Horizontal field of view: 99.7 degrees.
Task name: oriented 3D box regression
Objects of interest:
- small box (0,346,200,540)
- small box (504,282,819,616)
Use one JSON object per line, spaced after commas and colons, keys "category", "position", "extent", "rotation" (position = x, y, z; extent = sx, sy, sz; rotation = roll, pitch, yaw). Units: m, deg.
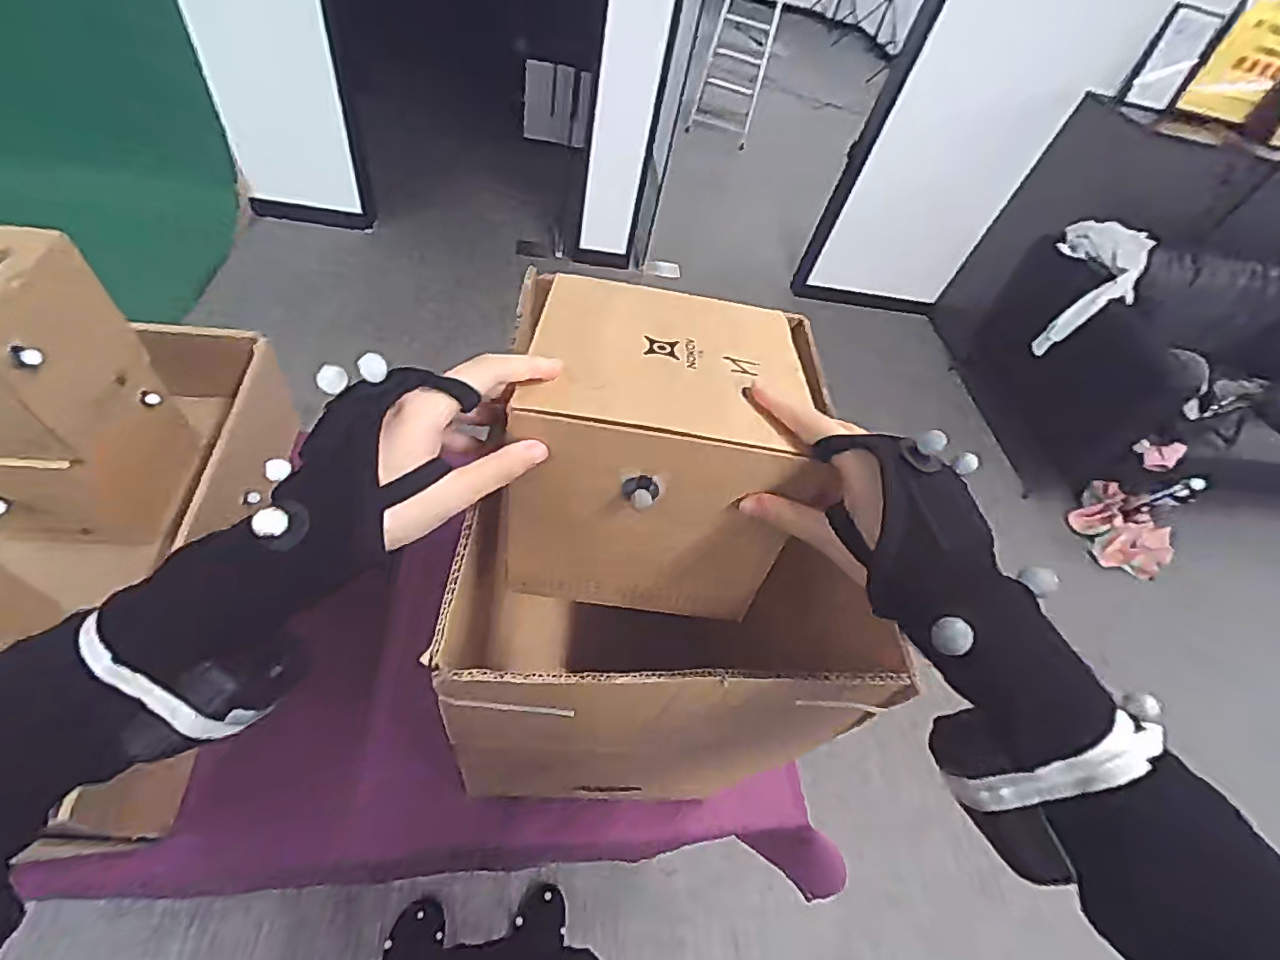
{"category": "small box", "position": [-0.703, -0.039, 0.674], "extent": [0.168, 0.176, 0.179], "rotation": [4, 53, -10]}
{"category": "small box", "position": [0.005, -0.019, 0.399], "extent": [0.179, 0.176, 0.168], "rotation": [10, 44, -5]}
